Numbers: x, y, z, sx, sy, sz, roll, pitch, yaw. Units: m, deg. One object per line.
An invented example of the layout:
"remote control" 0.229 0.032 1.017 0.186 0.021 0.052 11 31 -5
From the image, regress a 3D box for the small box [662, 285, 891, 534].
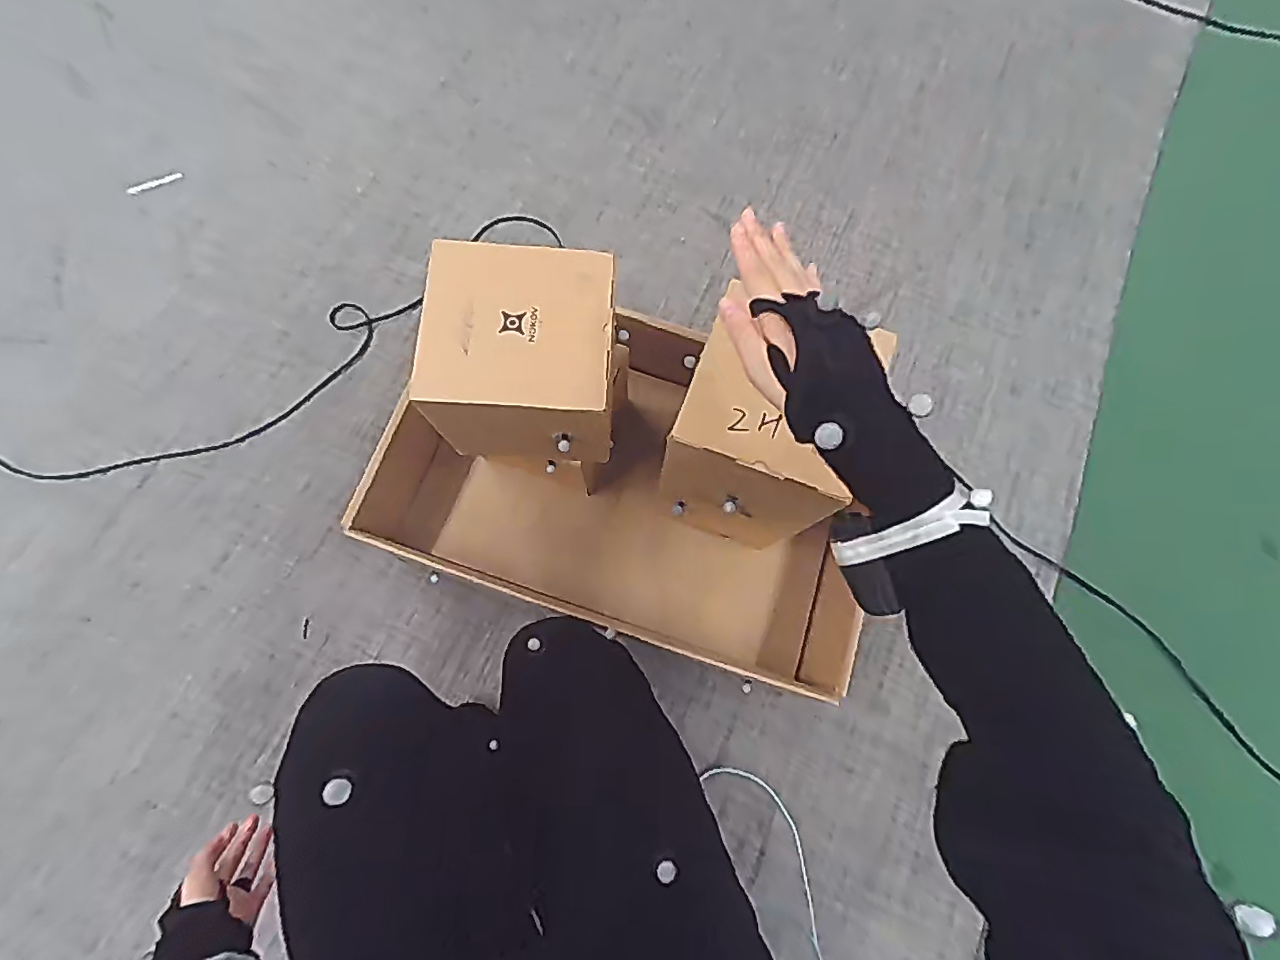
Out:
"small box" 0.127 -0.060 0.564 0.168 0.176 0.179 21 76 4

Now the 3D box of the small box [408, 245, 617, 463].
"small box" -0.118 -0.119 0.574 0.179 0.176 0.168 3 76 -2
